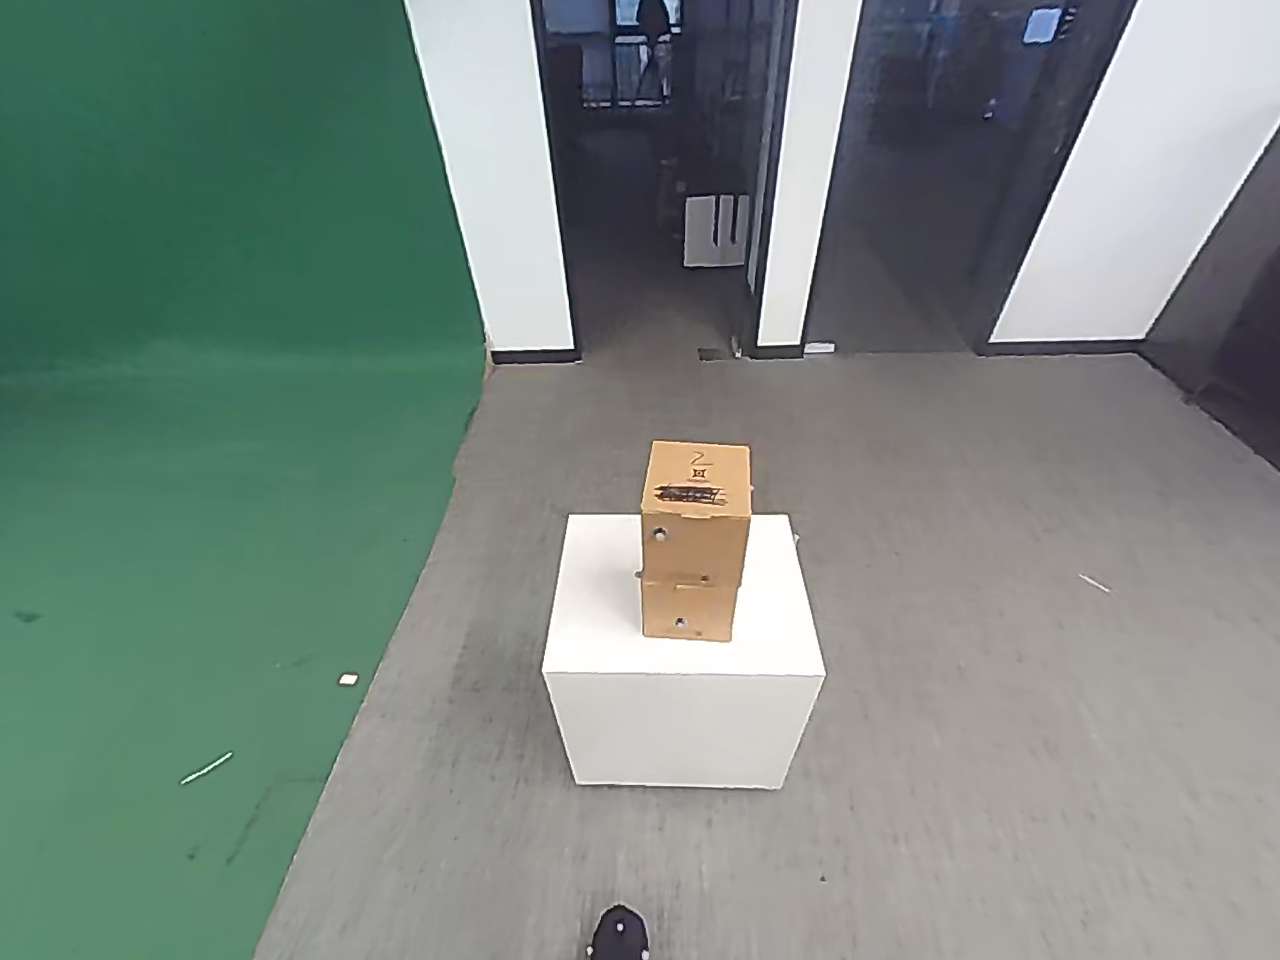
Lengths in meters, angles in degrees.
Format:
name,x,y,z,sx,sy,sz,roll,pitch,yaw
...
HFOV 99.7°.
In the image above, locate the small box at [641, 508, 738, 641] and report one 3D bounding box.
name,x,y,z,sx,sy,sz,roll,pitch,yaw
small box,0.091,0.175,1.014,0.168,0.176,0.179,2,41,5
